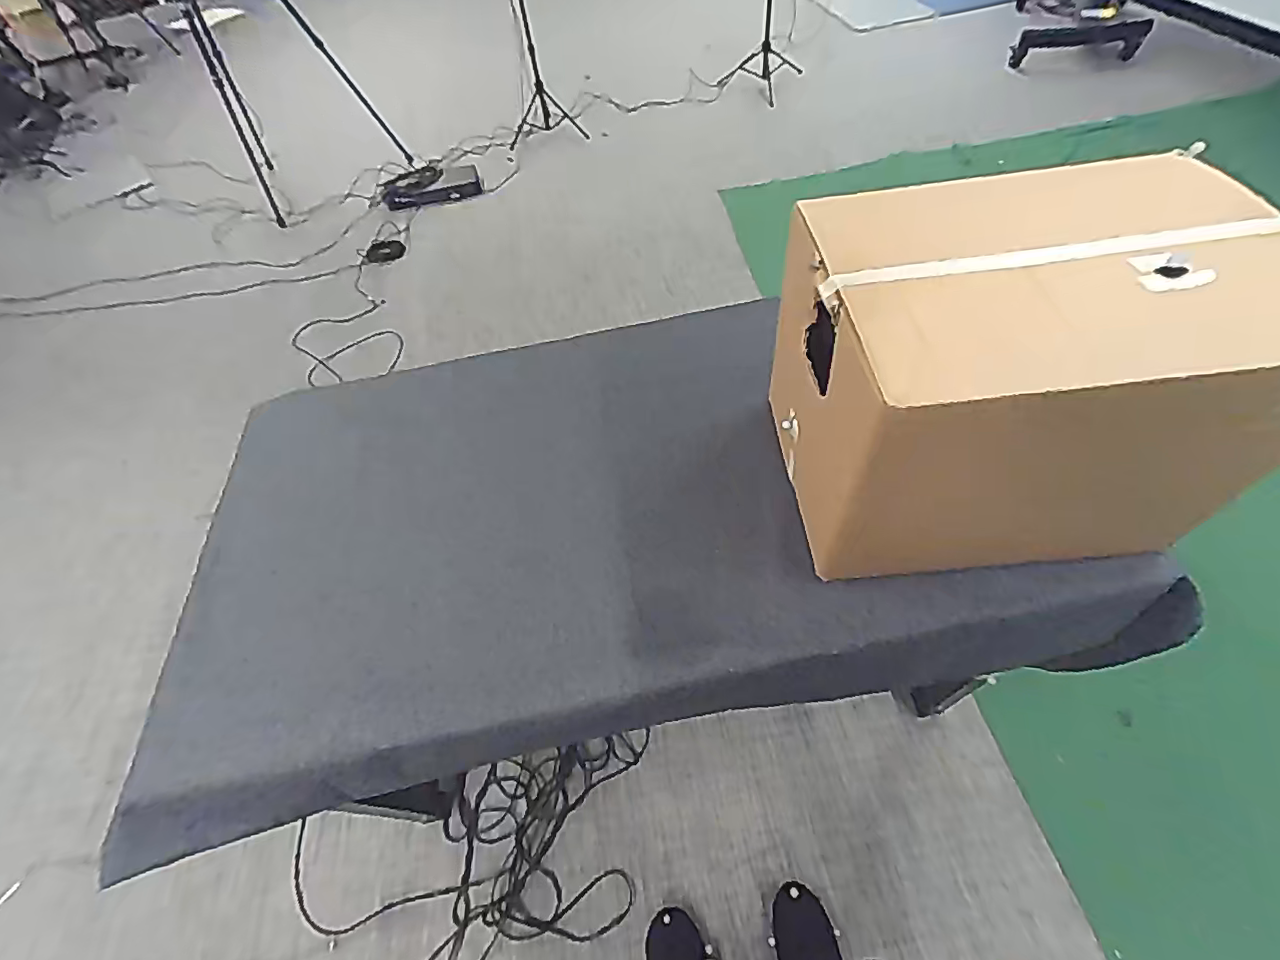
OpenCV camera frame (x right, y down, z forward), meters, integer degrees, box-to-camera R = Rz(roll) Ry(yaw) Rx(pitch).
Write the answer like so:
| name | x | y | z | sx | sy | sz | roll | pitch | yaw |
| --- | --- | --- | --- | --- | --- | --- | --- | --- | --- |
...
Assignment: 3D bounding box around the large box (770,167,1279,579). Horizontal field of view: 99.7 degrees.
| name | x | y | z | sx | sy | sz | roll | pitch | yaw |
| --- | --- | --- | --- | --- | --- | --- | --- | --- | --- |
| large box | 0.392 | -0.107 | 0.615 | 0.408 | 0.320 | 0.320 | -5 | 54 | 2 |
